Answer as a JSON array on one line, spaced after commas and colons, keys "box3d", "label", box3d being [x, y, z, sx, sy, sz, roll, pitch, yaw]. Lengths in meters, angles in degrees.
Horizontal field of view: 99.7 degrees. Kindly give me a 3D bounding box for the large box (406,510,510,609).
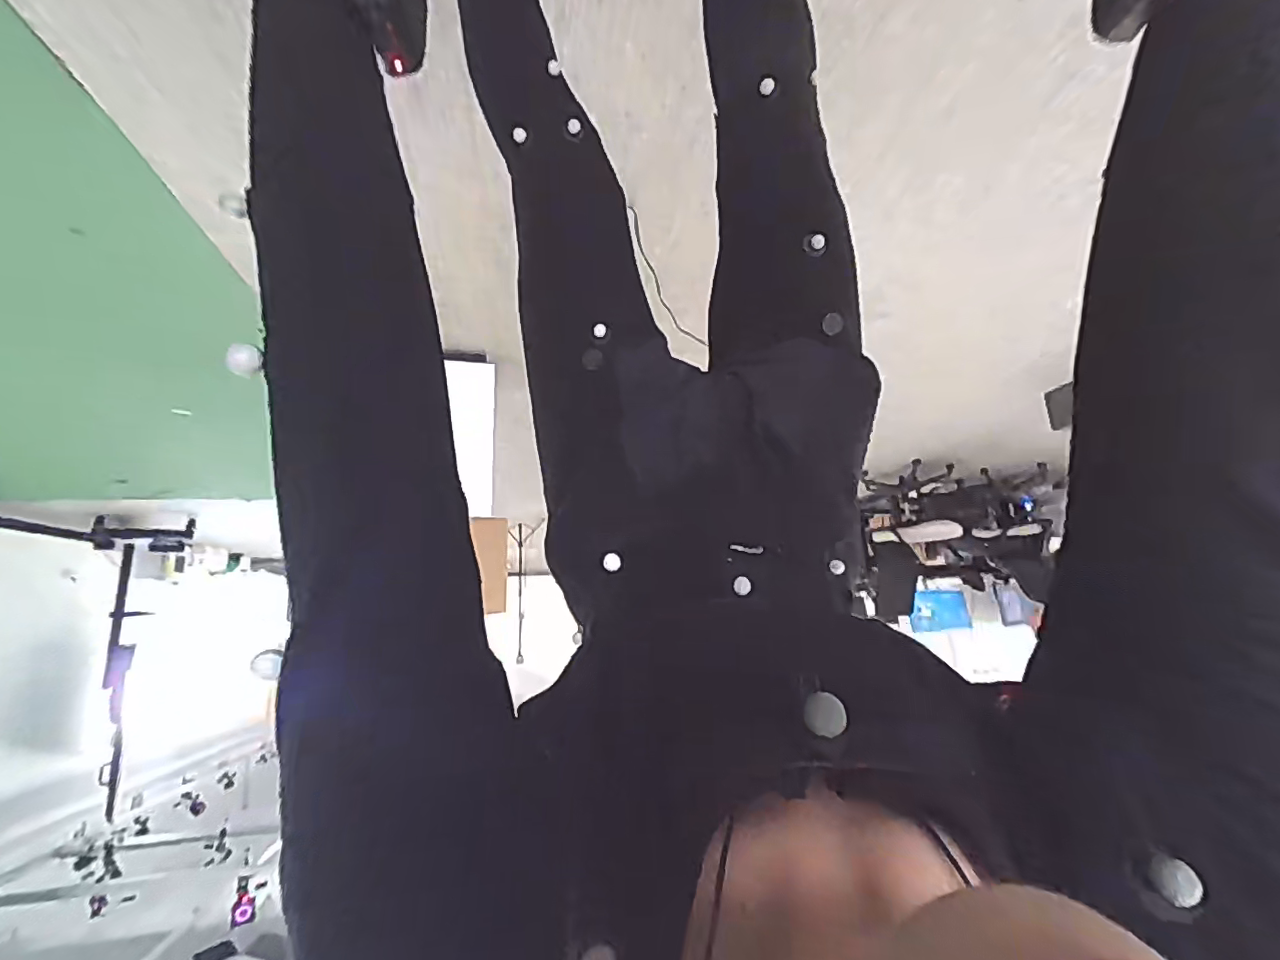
[{"box3d": [-0.620, 0.289, 1.901, 0.320, 0.320, 0.408, 2, 167, -15], "label": "large box"}]
